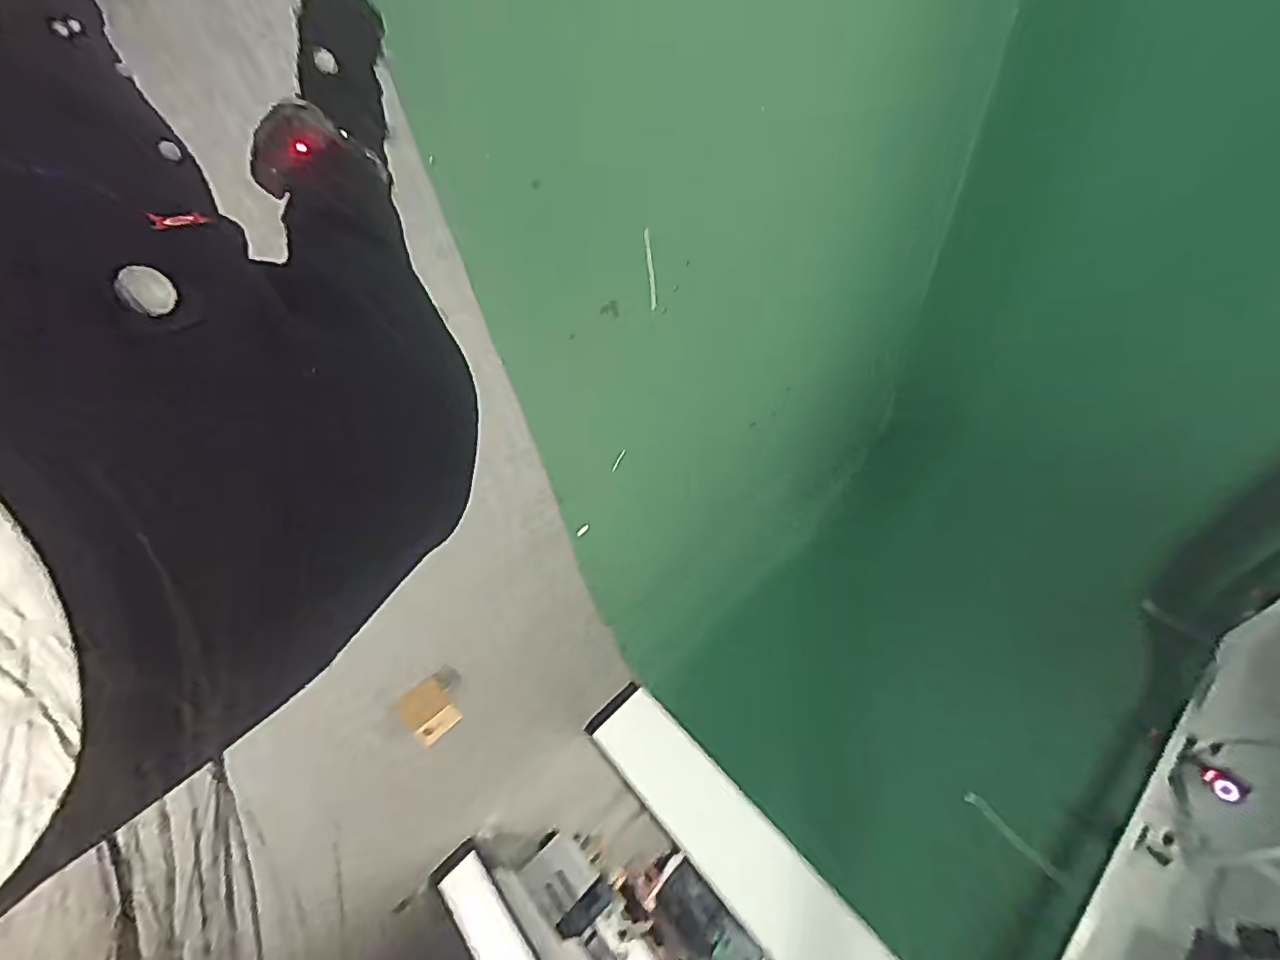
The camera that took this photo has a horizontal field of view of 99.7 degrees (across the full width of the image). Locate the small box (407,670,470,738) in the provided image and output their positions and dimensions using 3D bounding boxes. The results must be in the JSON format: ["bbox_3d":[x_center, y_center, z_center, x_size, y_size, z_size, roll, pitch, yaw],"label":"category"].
[{"bbox_3d":[-0.867,0.954,2.305,0.179,0.176,0.168,-39,144,-20],"label":"small box"}]
